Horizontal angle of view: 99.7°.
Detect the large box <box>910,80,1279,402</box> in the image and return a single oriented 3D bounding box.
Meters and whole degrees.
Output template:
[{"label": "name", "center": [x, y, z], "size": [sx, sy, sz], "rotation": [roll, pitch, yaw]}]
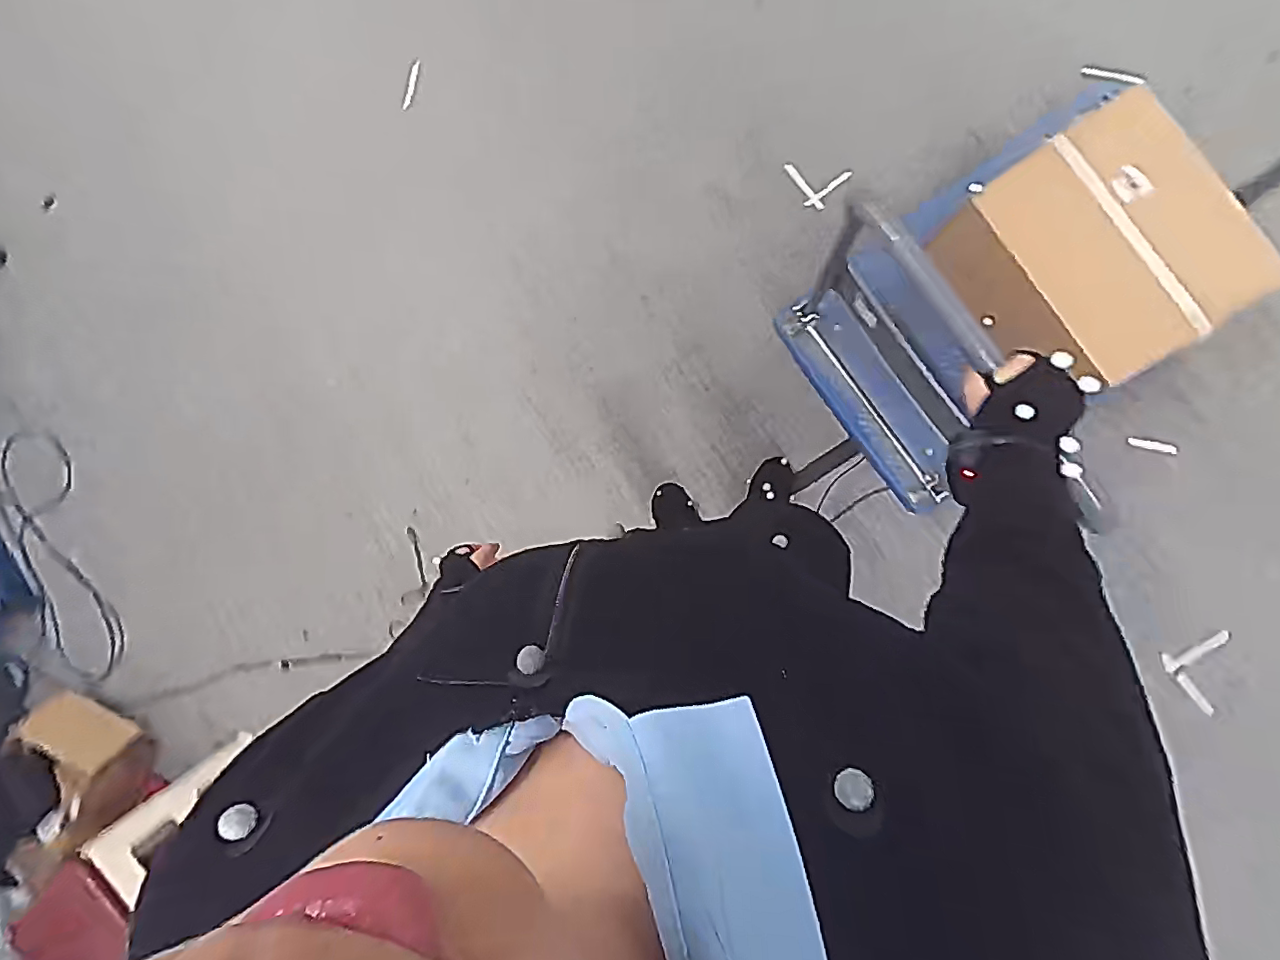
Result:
[{"label": "large box", "center": [0.812, -0.412, 1.035], "size": [0.320, 0.320, 0.408], "rotation": [-34, 84, 7]}]
